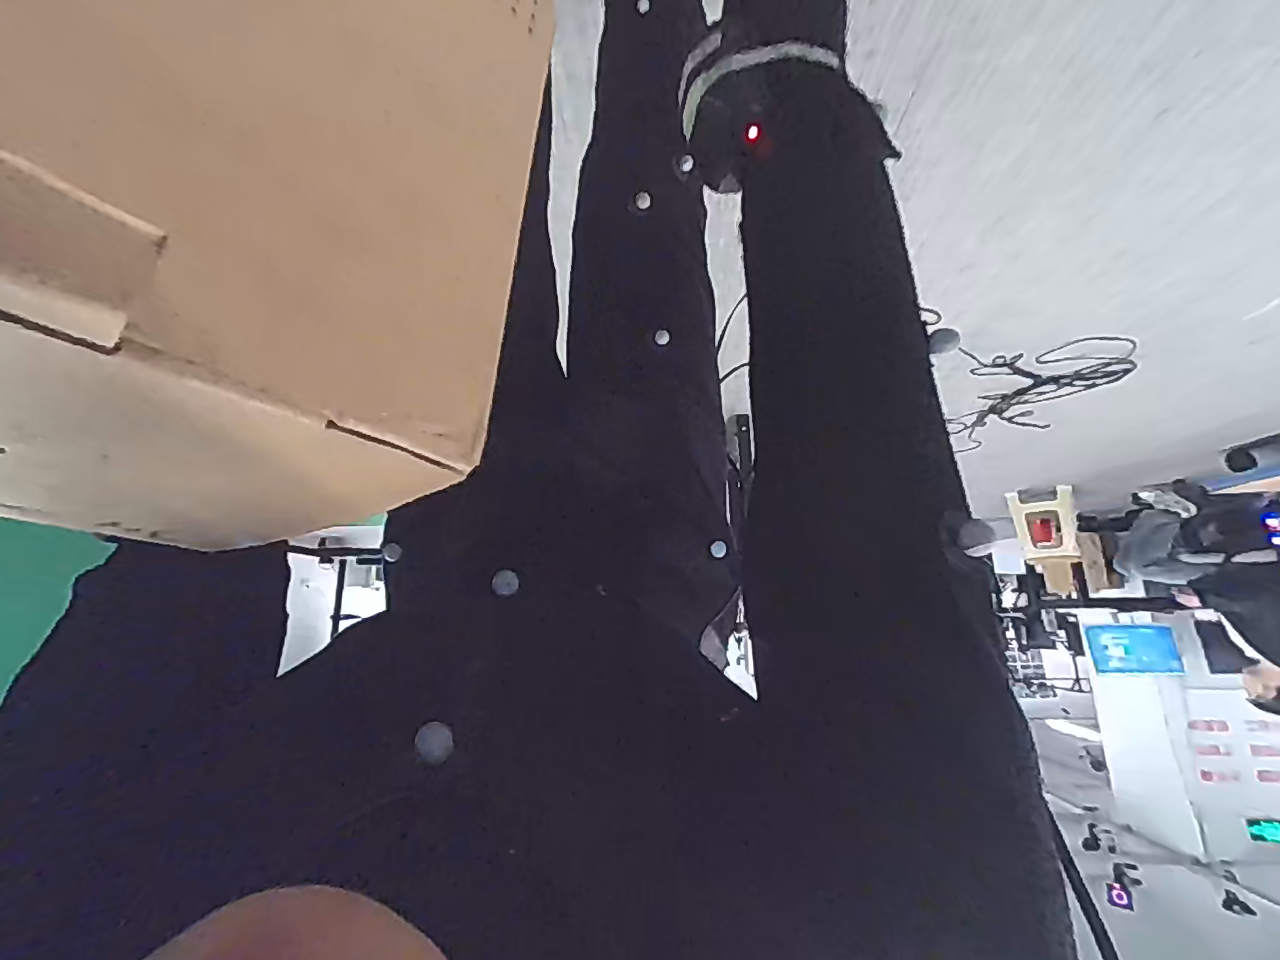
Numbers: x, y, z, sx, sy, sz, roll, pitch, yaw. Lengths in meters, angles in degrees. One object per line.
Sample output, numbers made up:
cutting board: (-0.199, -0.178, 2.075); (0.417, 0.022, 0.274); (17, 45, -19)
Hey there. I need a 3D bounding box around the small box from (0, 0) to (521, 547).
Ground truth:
small box: (-0.146, -0.088, 0.135); (0.179, 0.176, 0.168); (-12, 156, 36)
